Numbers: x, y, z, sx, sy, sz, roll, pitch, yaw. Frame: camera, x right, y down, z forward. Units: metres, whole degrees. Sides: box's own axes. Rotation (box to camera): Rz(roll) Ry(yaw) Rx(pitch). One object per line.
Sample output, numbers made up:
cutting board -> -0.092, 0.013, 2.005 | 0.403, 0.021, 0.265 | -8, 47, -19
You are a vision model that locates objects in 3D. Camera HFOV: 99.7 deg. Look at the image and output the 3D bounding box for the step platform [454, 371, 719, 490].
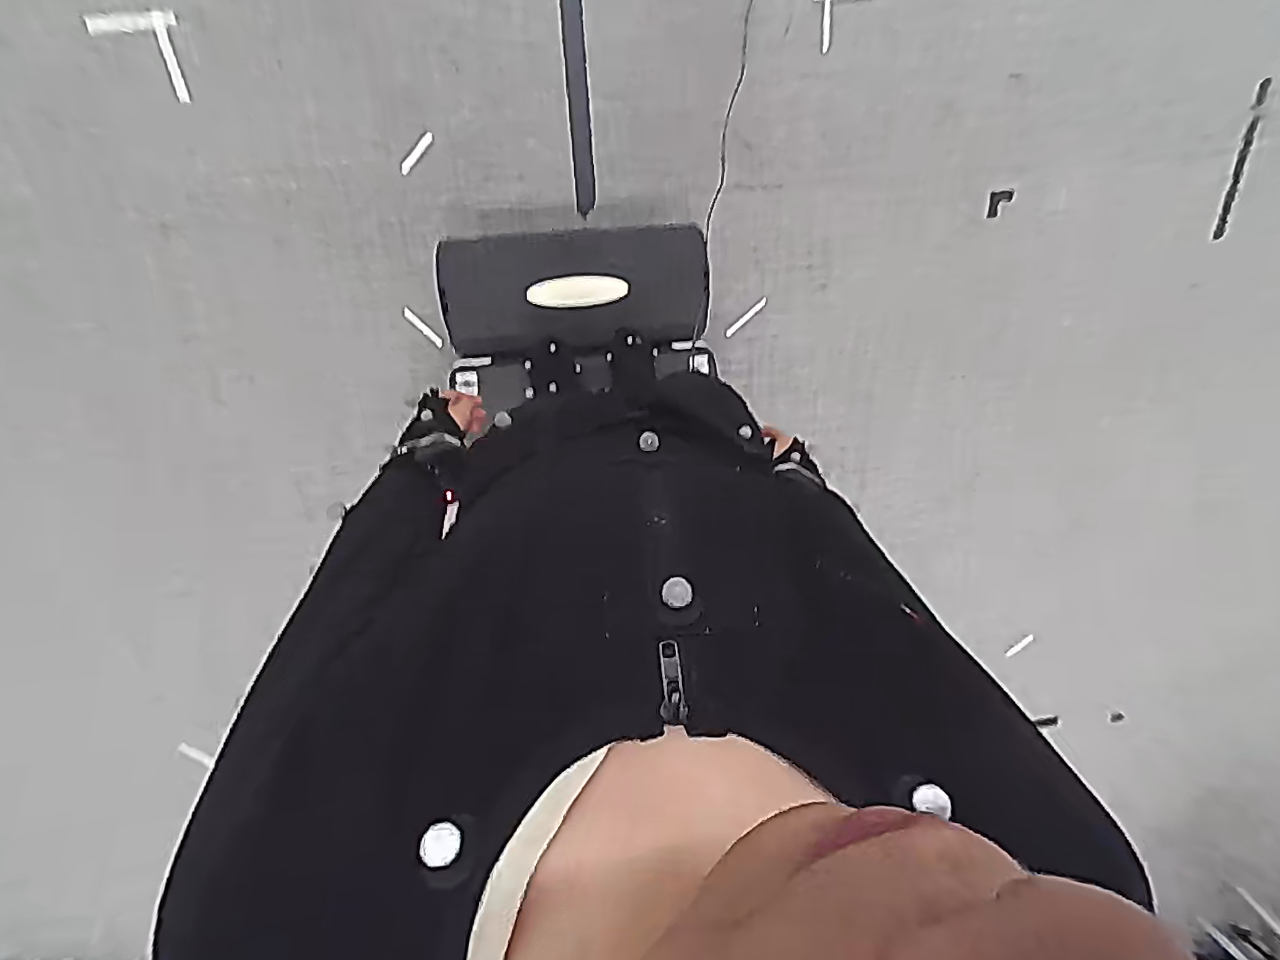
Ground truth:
step platform -> -0.134, -0.134, 1.435 | 0.684, 0.204, 0.286 | -2, 108, -6
